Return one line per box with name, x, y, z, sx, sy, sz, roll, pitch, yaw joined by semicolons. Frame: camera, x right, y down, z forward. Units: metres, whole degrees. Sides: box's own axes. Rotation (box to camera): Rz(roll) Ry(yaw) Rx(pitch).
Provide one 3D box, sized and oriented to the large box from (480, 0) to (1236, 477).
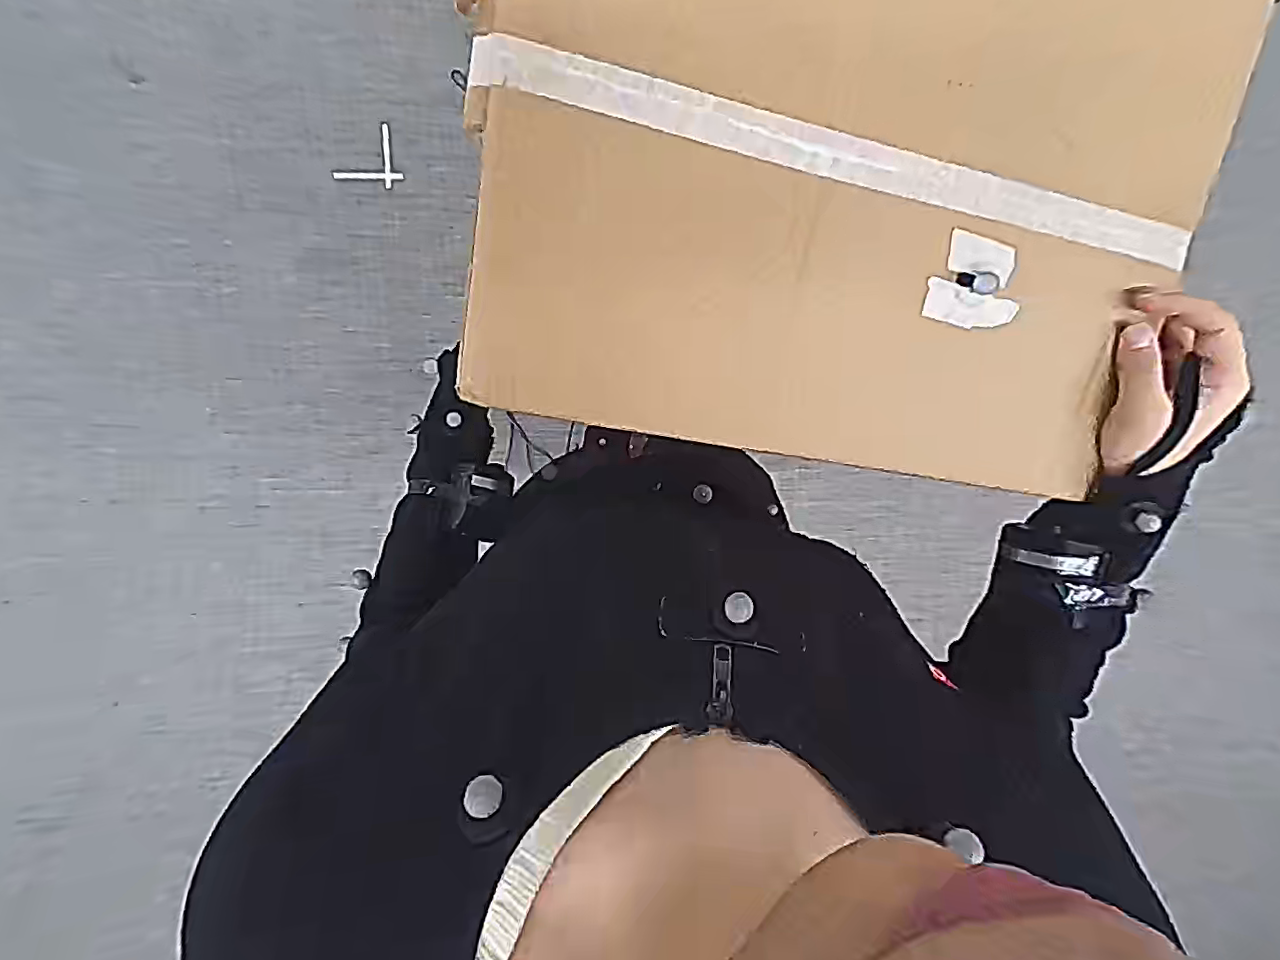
large box;0.100;-0.204;0.437;0.408;0.320;0.320;7;103;-13
